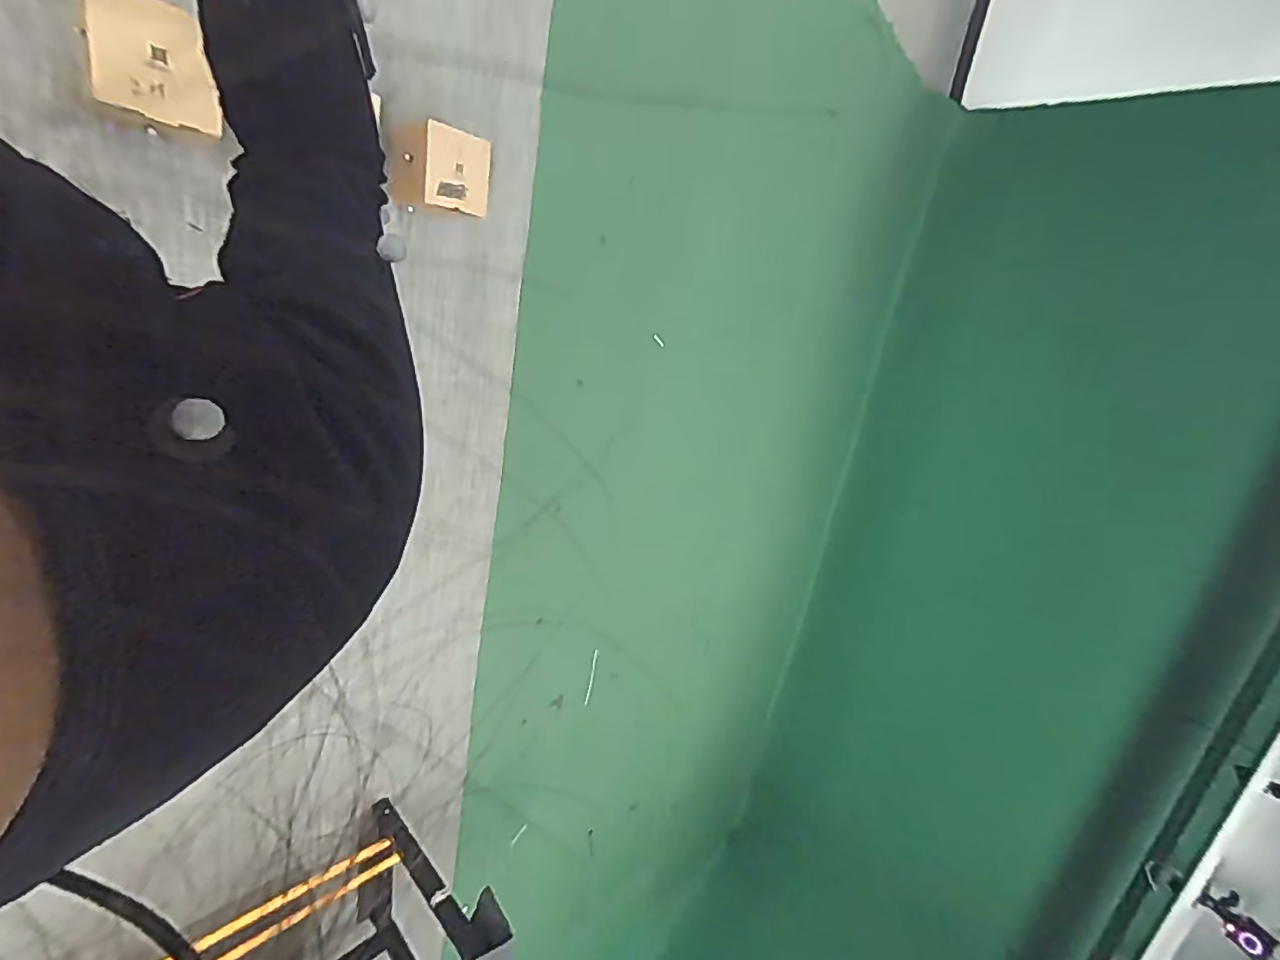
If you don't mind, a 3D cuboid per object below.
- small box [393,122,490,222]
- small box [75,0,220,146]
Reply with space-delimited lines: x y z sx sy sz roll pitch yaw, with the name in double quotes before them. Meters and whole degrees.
"small box" -0.493 -0.750 1.334 0.168 0.176 0.179 -10 115 -47
"small box" -0.847 -0.704 0.933 0.168 0.176 0.179 -7 114 -47
